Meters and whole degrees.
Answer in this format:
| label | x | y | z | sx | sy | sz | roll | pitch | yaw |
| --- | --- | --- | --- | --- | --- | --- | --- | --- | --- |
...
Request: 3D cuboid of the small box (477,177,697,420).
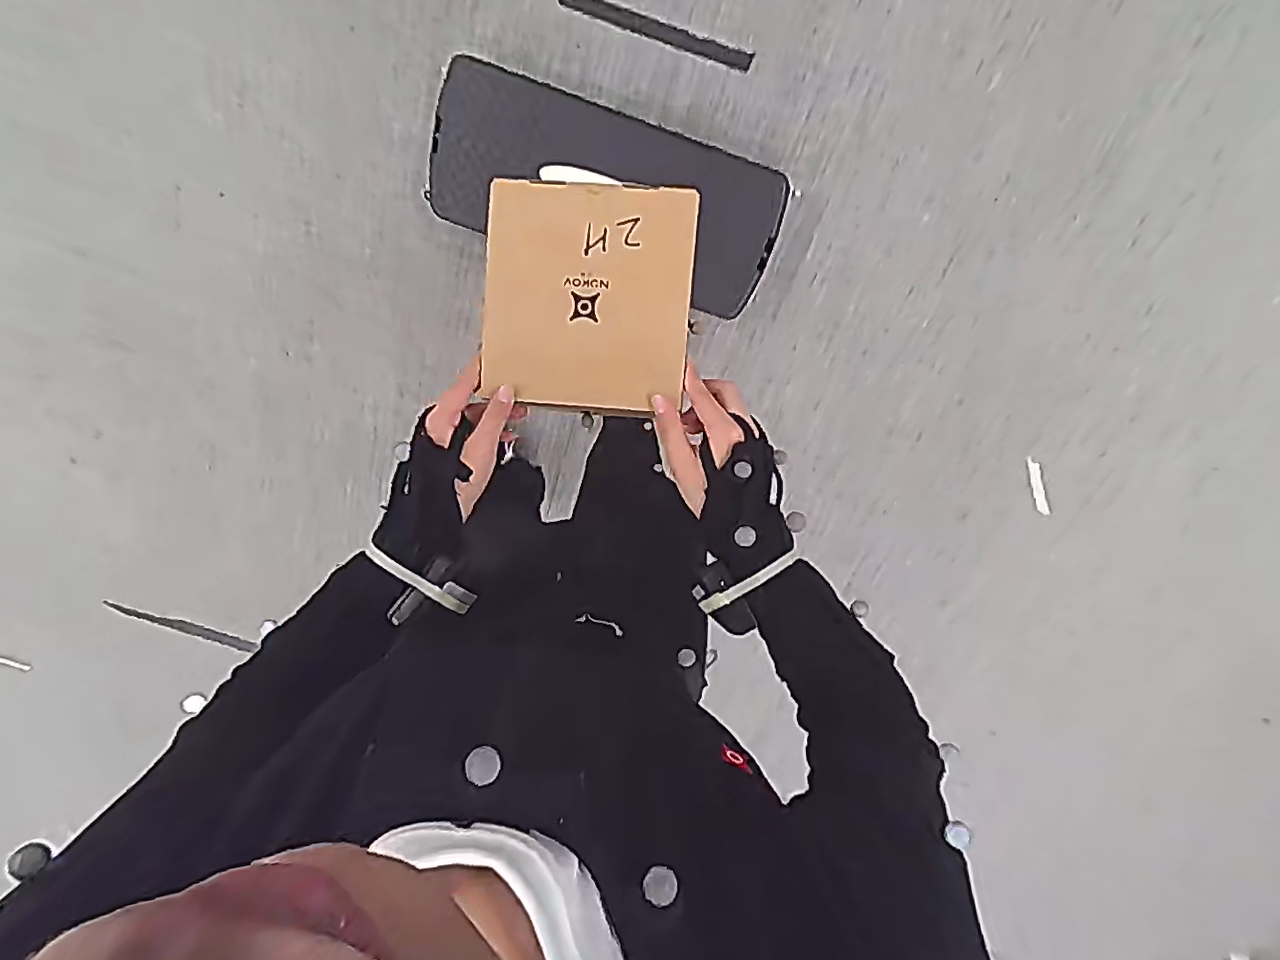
| label | x | y | z | sx | sy | sz | roll | pitch | yaw |
| --- | --- | --- | --- | --- | --- | --- | --- | --- | --- |
| small box | -0.039 | -0.149 | 0.503 | 0.168 | 0.176 | 0.179 | 5 | 94 | 2 |
